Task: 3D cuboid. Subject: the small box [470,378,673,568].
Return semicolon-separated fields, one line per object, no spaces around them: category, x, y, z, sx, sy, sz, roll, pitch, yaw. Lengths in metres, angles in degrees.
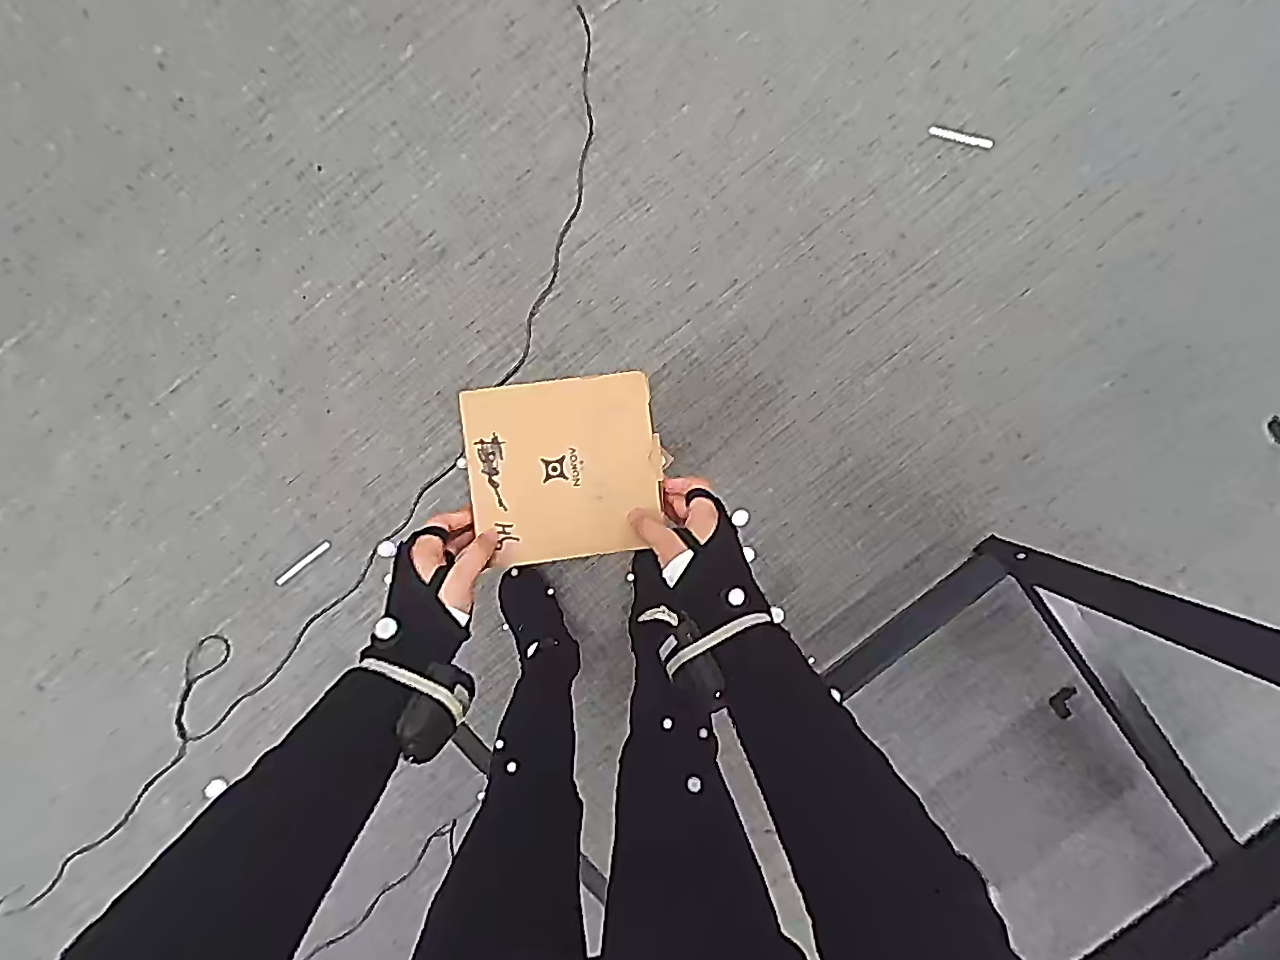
small box;-0.070;-0.007;0.589;0.179;0.176;0.168;-8;89;-4
